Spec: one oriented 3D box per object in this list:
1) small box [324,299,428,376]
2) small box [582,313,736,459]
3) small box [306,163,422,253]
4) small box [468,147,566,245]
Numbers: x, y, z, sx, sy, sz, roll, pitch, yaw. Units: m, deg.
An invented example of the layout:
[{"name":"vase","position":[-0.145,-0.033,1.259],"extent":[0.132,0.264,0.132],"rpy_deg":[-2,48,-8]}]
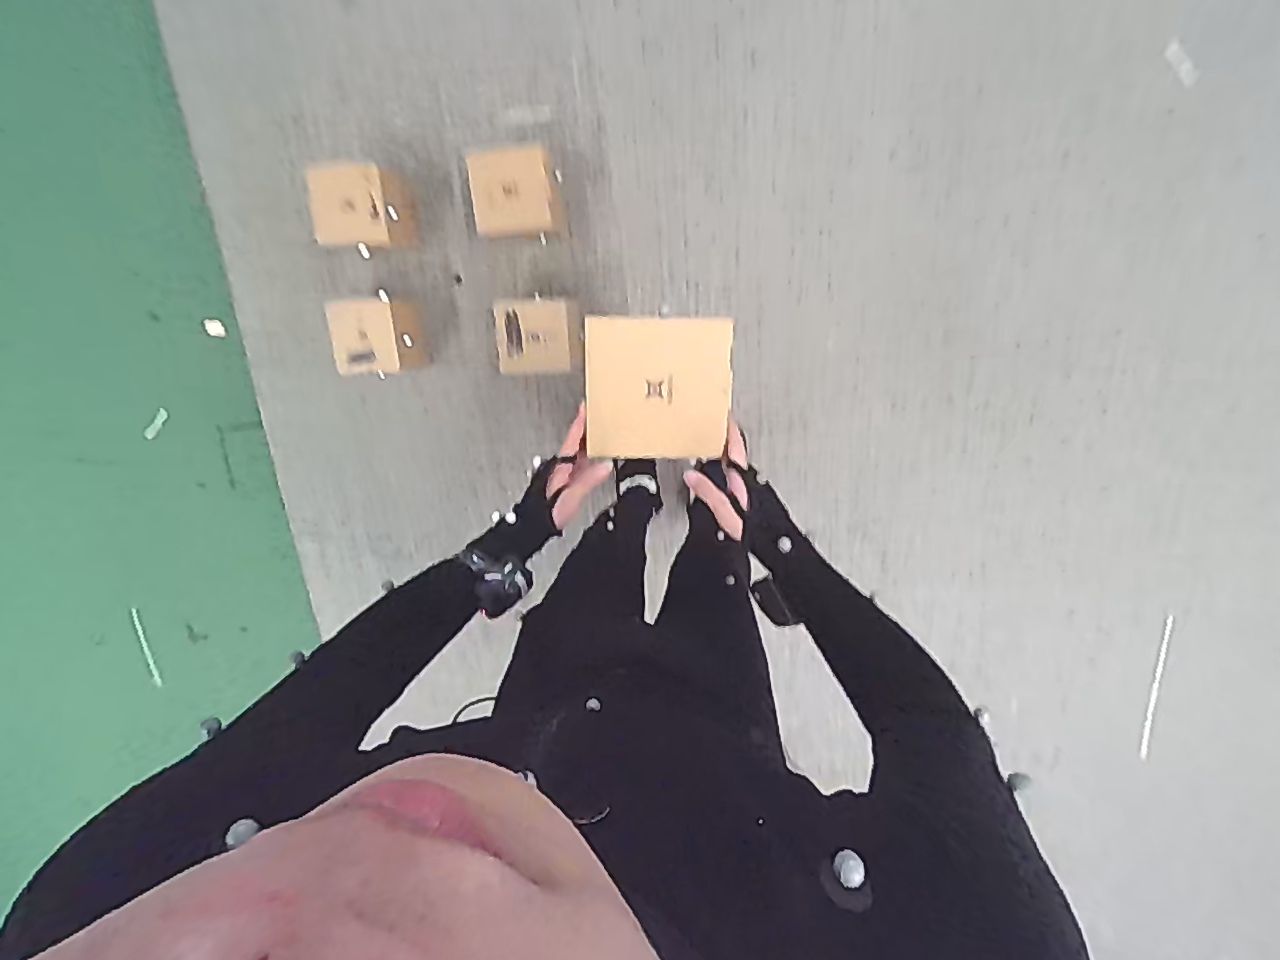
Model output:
[{"name":"small box","position":[-0.658,-0.363,1.372],"extent":[0.168,0.176,0.179],"rpy_deg":[-1,105,5]},{"name":"small box","position":[0.017,-0.122,0.705],"extent":[0.179,0.176,0.168],"rpy_deg":[0,102,-4]},{"name":"small box","position":[-0.650,-0.641,1.292],"extent":[0.179,0.176,0.168],"rpy_deg":[1,106,6]},{"name":"small box","position":[-0.275,-0.650,1.254],"extent":[0.179,0.176,0.168],"rpy_deg":[-2,105,6]}]
